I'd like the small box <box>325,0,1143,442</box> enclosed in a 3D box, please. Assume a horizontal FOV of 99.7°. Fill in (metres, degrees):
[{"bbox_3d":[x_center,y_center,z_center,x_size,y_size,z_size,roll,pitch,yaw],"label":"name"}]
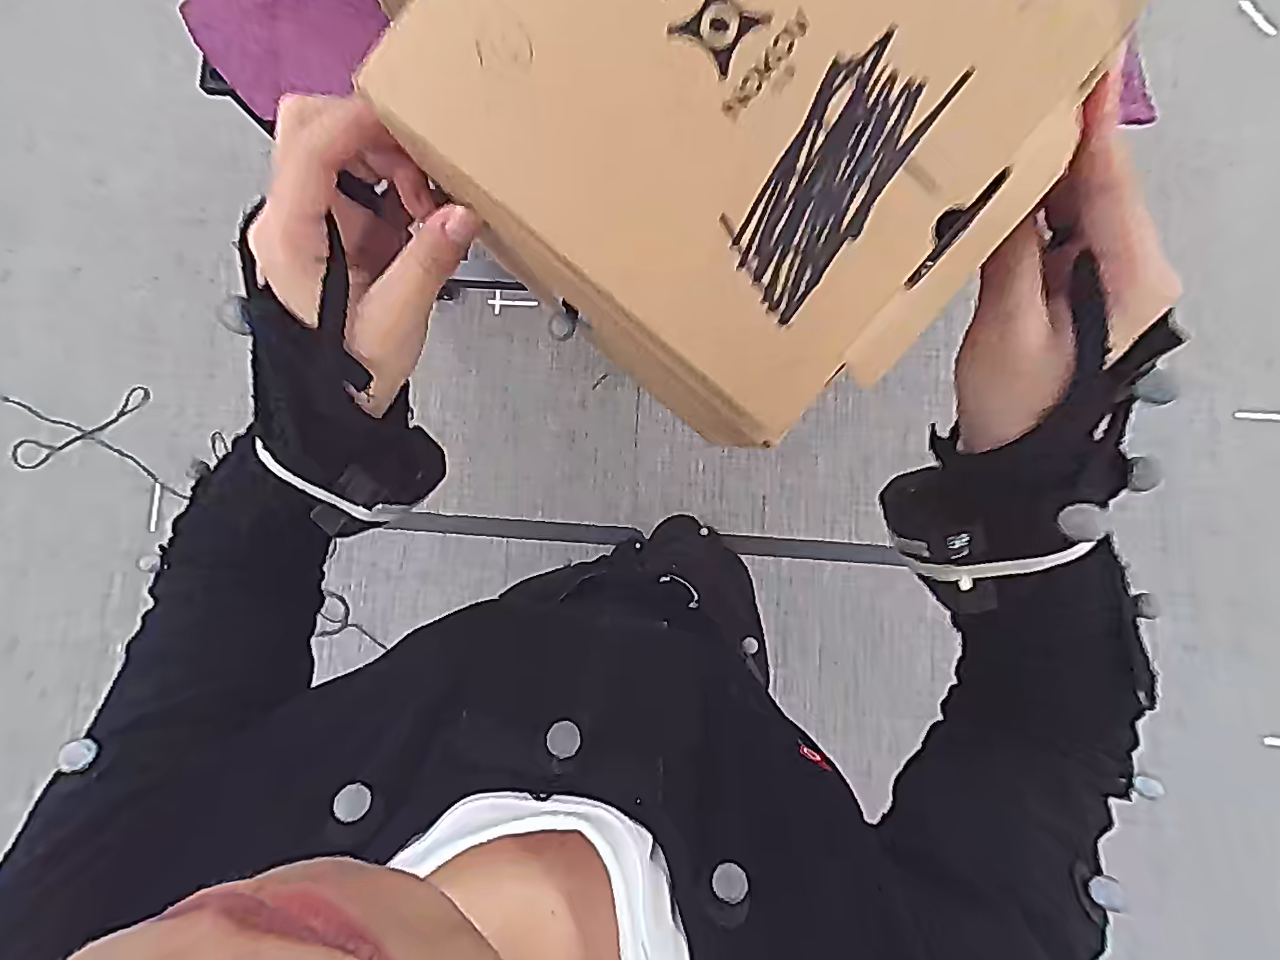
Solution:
[{"bbox_3d":[0.027,-0.134,0.233,0.179,0.176,0.168,40,93,0],"label":"small box"}]
